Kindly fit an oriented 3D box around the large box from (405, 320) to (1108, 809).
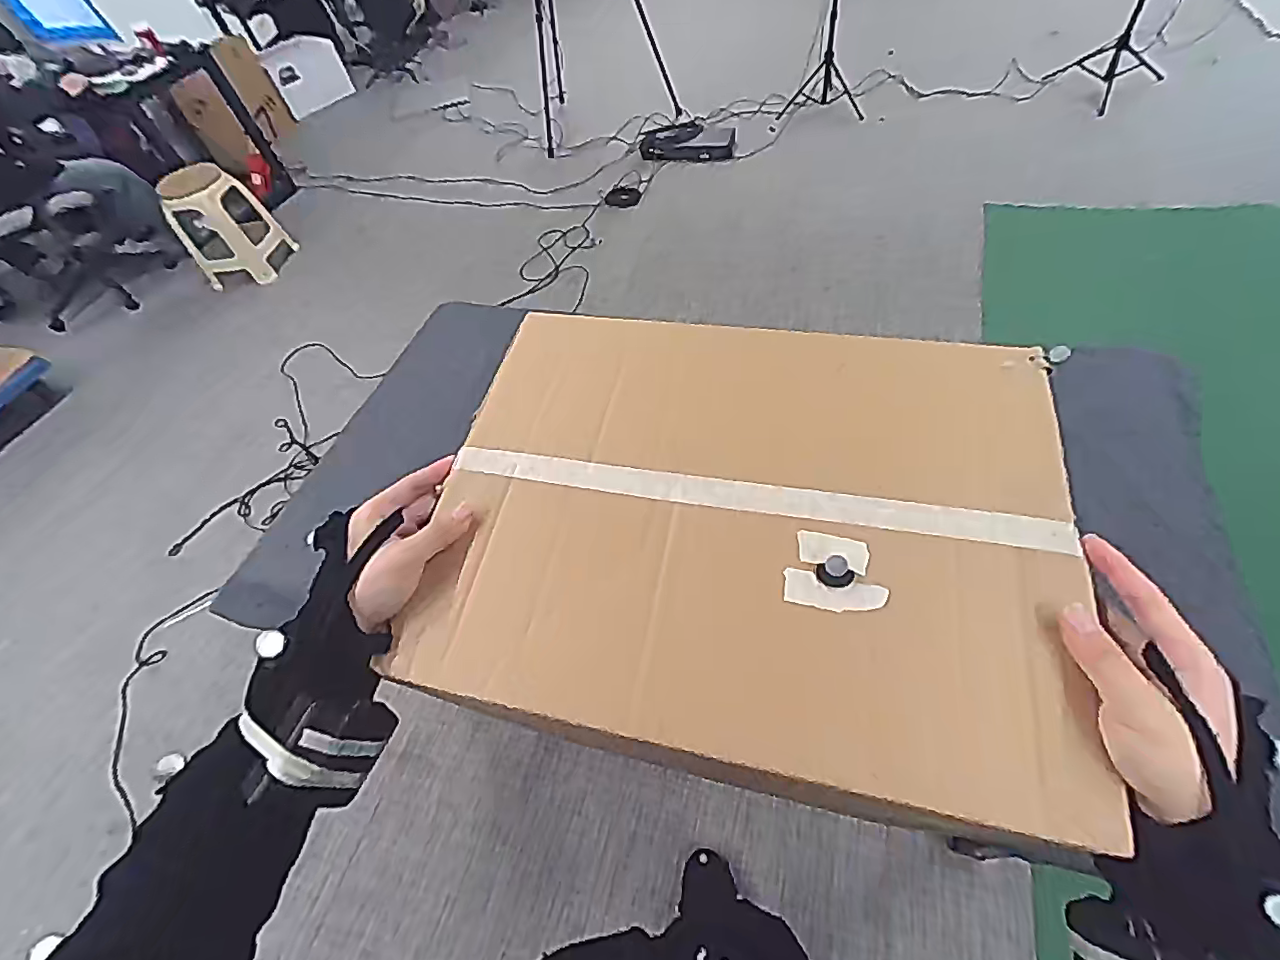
[{"bbox_3d":[0.086,0.084,0.503,0.408,0.320,0.320,8,62,12],"label":"large box"}]
